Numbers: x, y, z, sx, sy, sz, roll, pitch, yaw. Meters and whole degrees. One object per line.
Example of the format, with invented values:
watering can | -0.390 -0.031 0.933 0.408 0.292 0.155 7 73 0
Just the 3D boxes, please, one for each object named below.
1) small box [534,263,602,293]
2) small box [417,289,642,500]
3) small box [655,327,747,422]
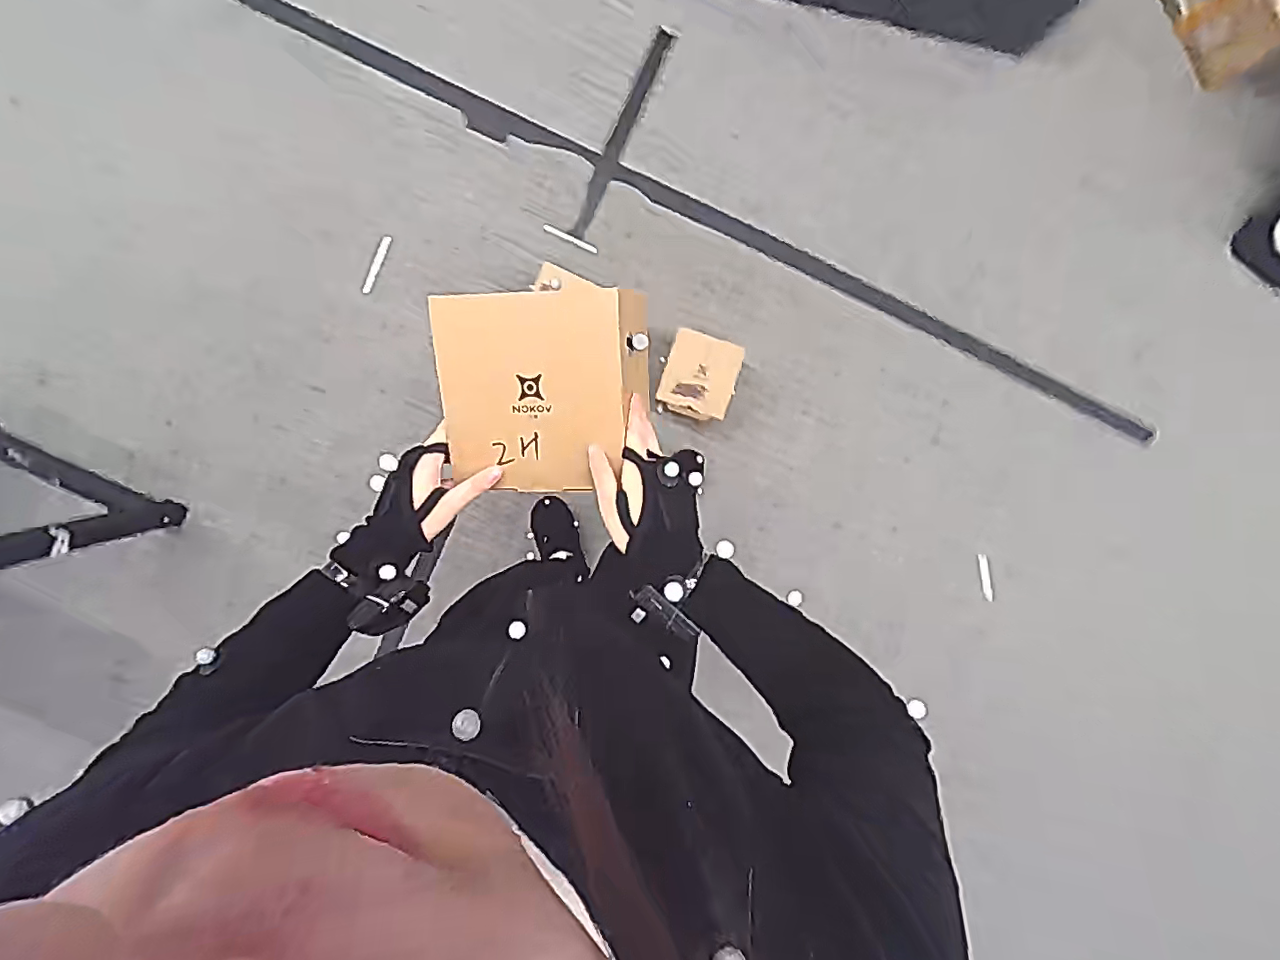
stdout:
small box | -0.165 -0.389 1.293 0.179 0.176 0.168 26 97 -5
small box | -0.090 -0.089 0.532 0.168 0.176 0.179 0 108 8
small box | 0.141 -0.251 1.318 0.168 0.176 0.179 19 97 -4
